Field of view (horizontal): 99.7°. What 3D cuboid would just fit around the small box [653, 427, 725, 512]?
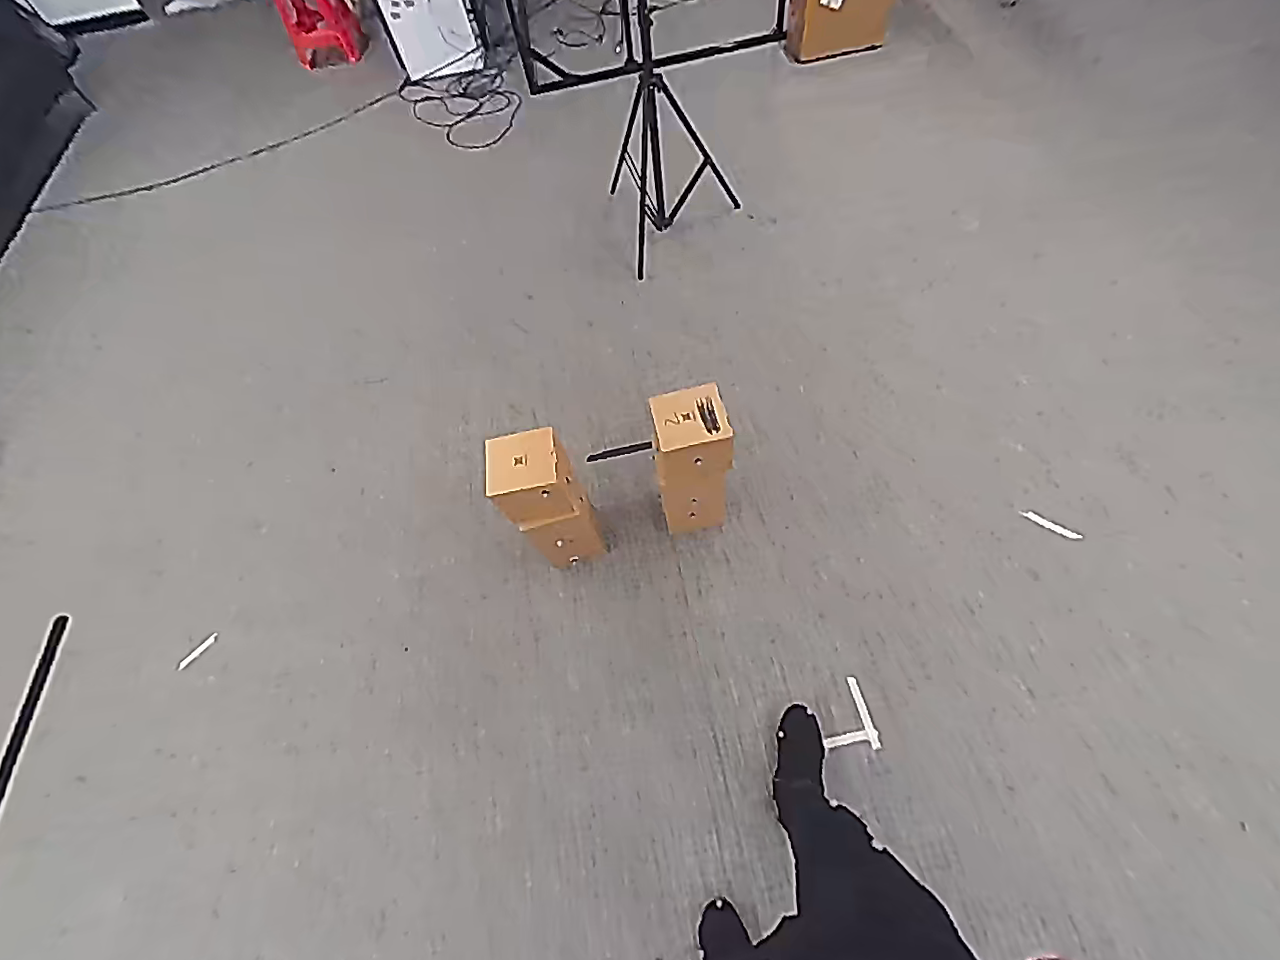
[{"bbox_3d":[0.135,-0.024,1.514,0.179,0.176,0.168,-9,61,2],"label":"small box"}]

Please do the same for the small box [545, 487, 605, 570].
[{"bbox_3d":[-0.215,0.151,1.655,0.168,0.176,0.179,-17,61,-1],"label":"small box"}]

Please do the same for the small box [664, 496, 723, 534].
[{"bbox_3d":[0.154,0.054,1.657,0.179,0.176,0.168,-10,61,1],"label":"small box"}]

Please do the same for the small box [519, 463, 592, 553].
[{"bbox_3d":[-0.241,0.080,1.510,0.168,0.176,0.179,-15,62,1],"label":"small box"}]

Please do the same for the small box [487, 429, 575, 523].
[{"bbox_3d":[-0.275,-0.004,1.374,0.179,0.176,0.168,-11,61,2],"label":"small box"}]
